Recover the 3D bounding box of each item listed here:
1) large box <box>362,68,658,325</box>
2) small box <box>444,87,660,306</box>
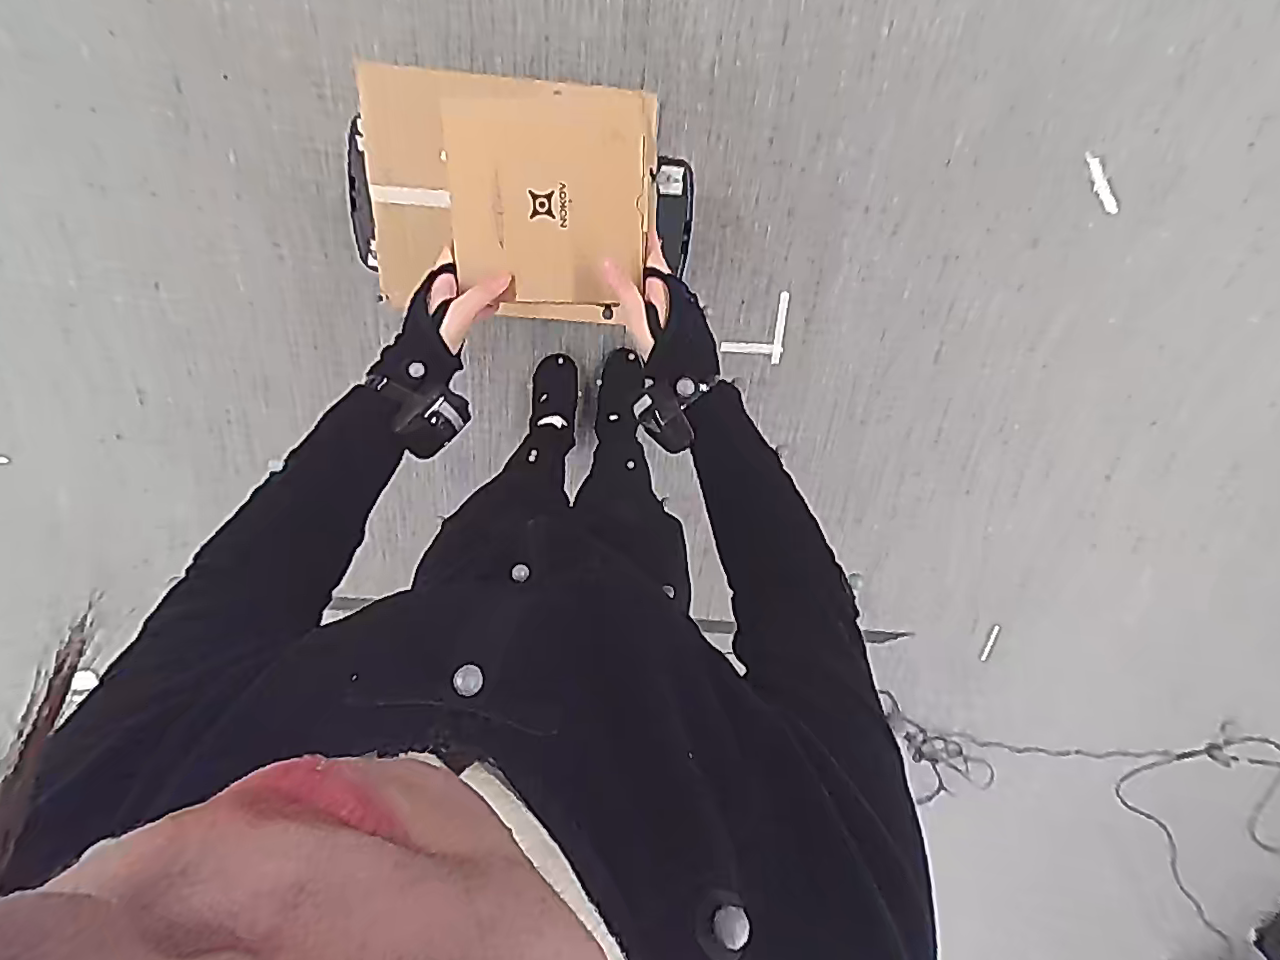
[{"bbox_3d":[-0.184,-0.454,0.918,0.408,0.320,0.320,4,112,-3],"label":"large box"},{"bbox_3d":[-0.071,-0.262,0.536,0.179,0.176,0.168,2,107,4],"label":"small box"}]
